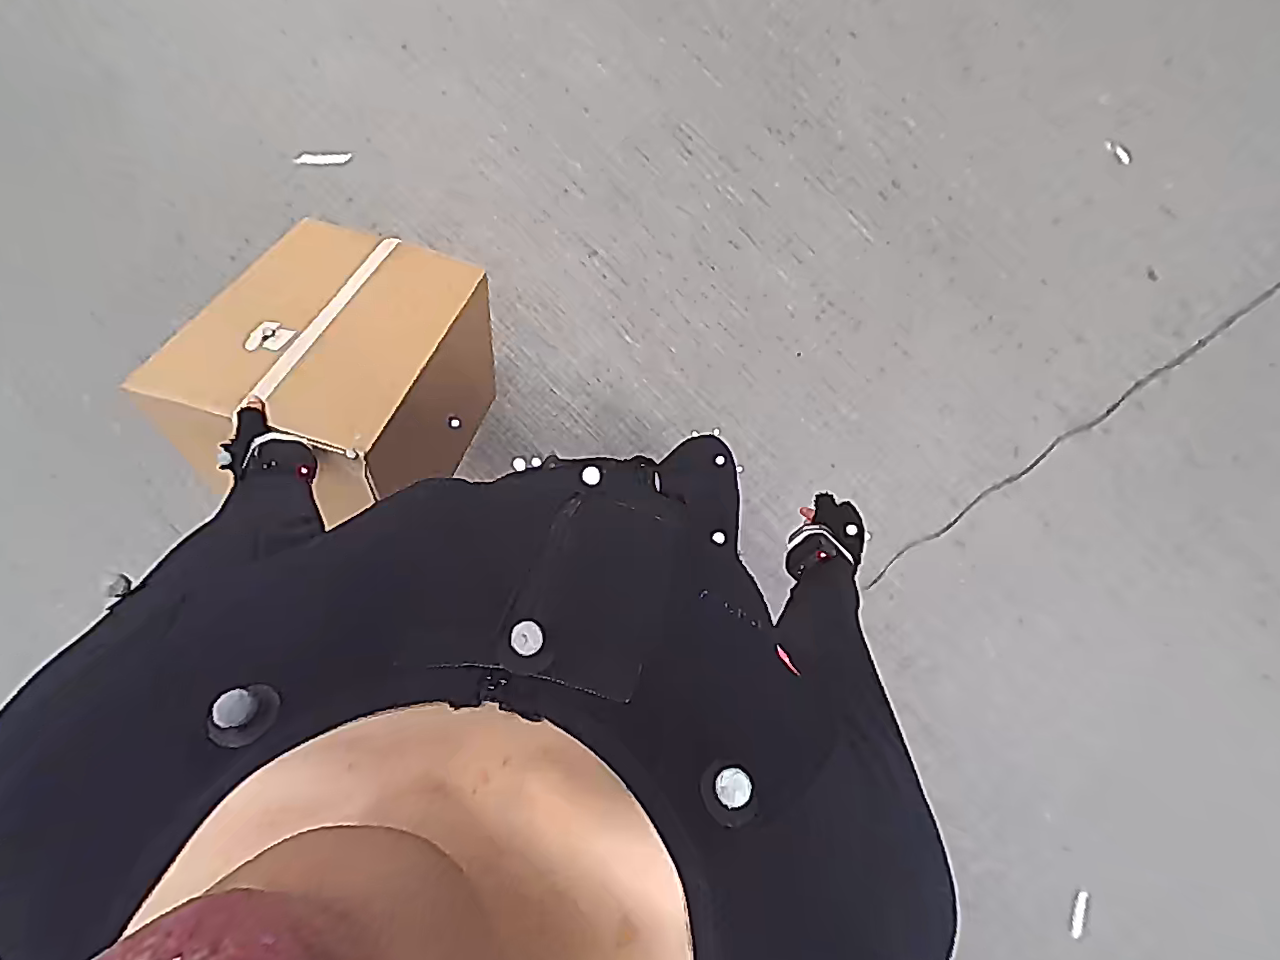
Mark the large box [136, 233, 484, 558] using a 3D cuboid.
[{"bbox_3d":[-0.482,-0.137,0.919,0.320,0.320,0.408,14,56,-2],"label":"large box"}]
